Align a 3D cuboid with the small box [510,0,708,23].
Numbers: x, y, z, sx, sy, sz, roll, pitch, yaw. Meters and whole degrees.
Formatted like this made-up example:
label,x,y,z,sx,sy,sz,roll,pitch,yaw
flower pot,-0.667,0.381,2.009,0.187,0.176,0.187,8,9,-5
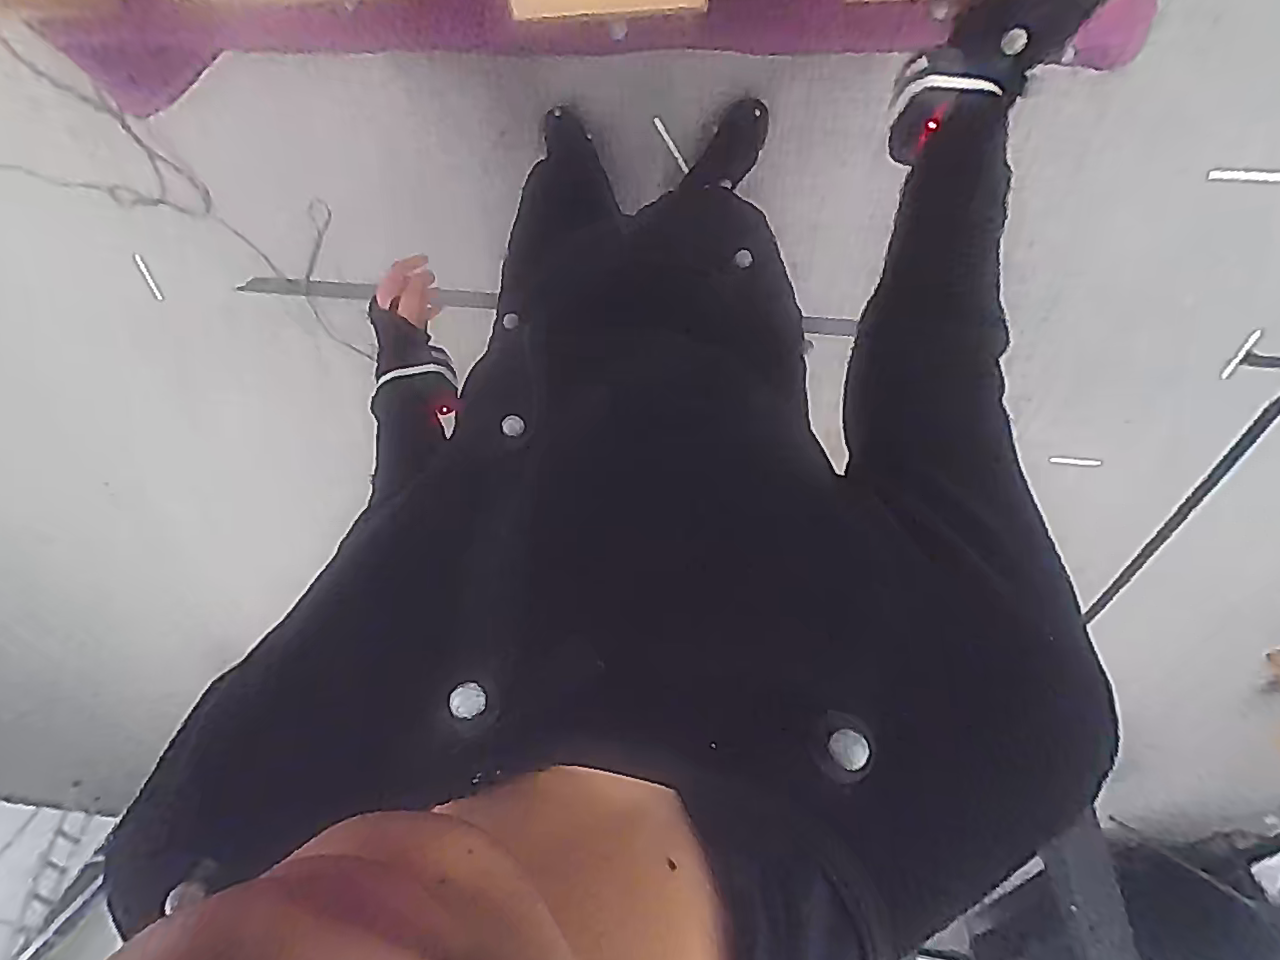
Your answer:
label,x,y,z,sx,sy,sz,roll,pitch,yaw
small box,-0.022,-0.508,0.460,0.168,0.176,0.179,3,131,7
